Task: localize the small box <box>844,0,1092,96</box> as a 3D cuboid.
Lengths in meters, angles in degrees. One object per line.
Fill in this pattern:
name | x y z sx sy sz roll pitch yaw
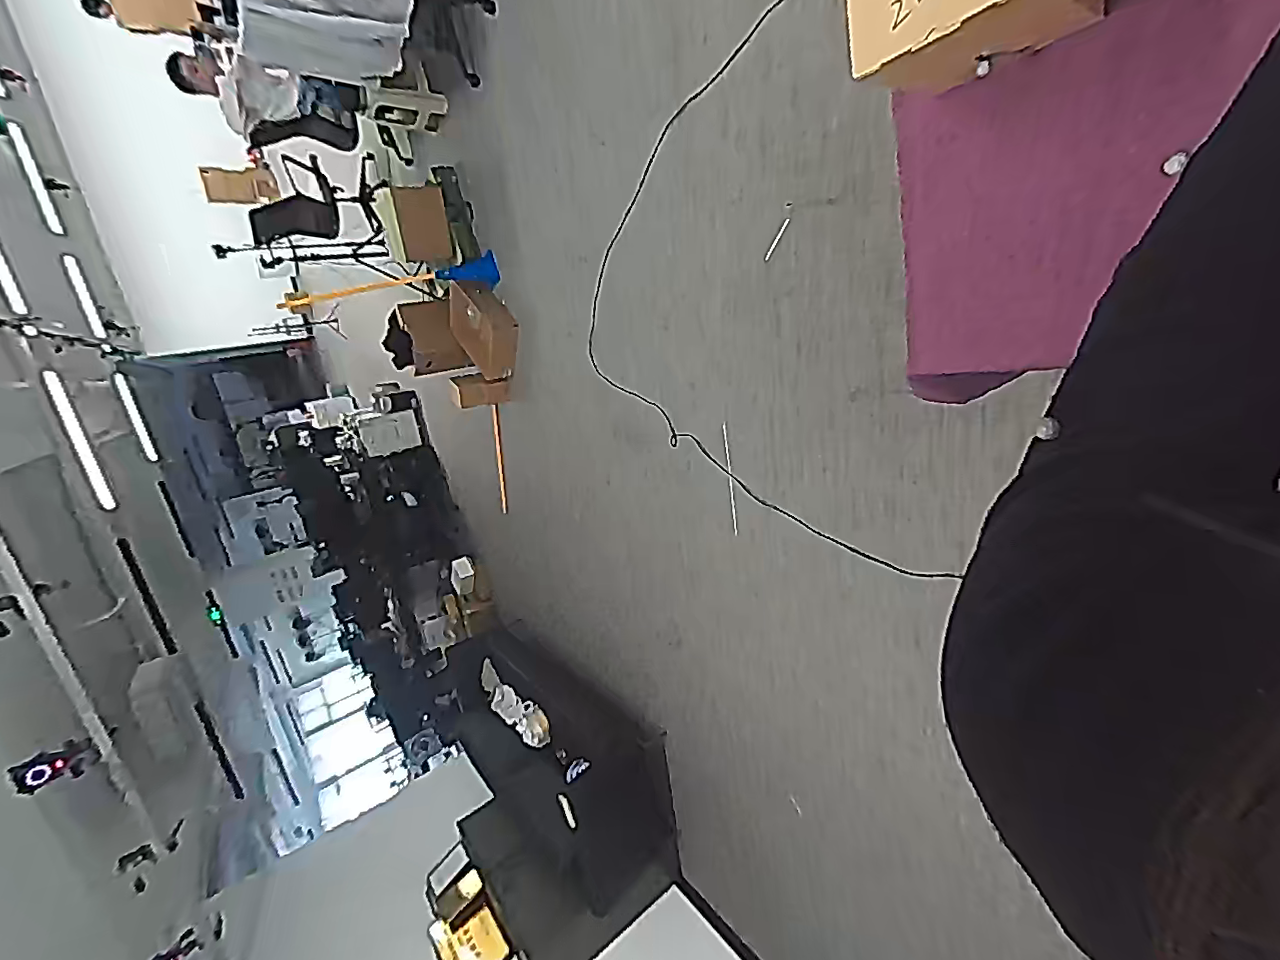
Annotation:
small box | 0.319 -0.514 0.529 0.168 0.176 0.179 11 115 53
